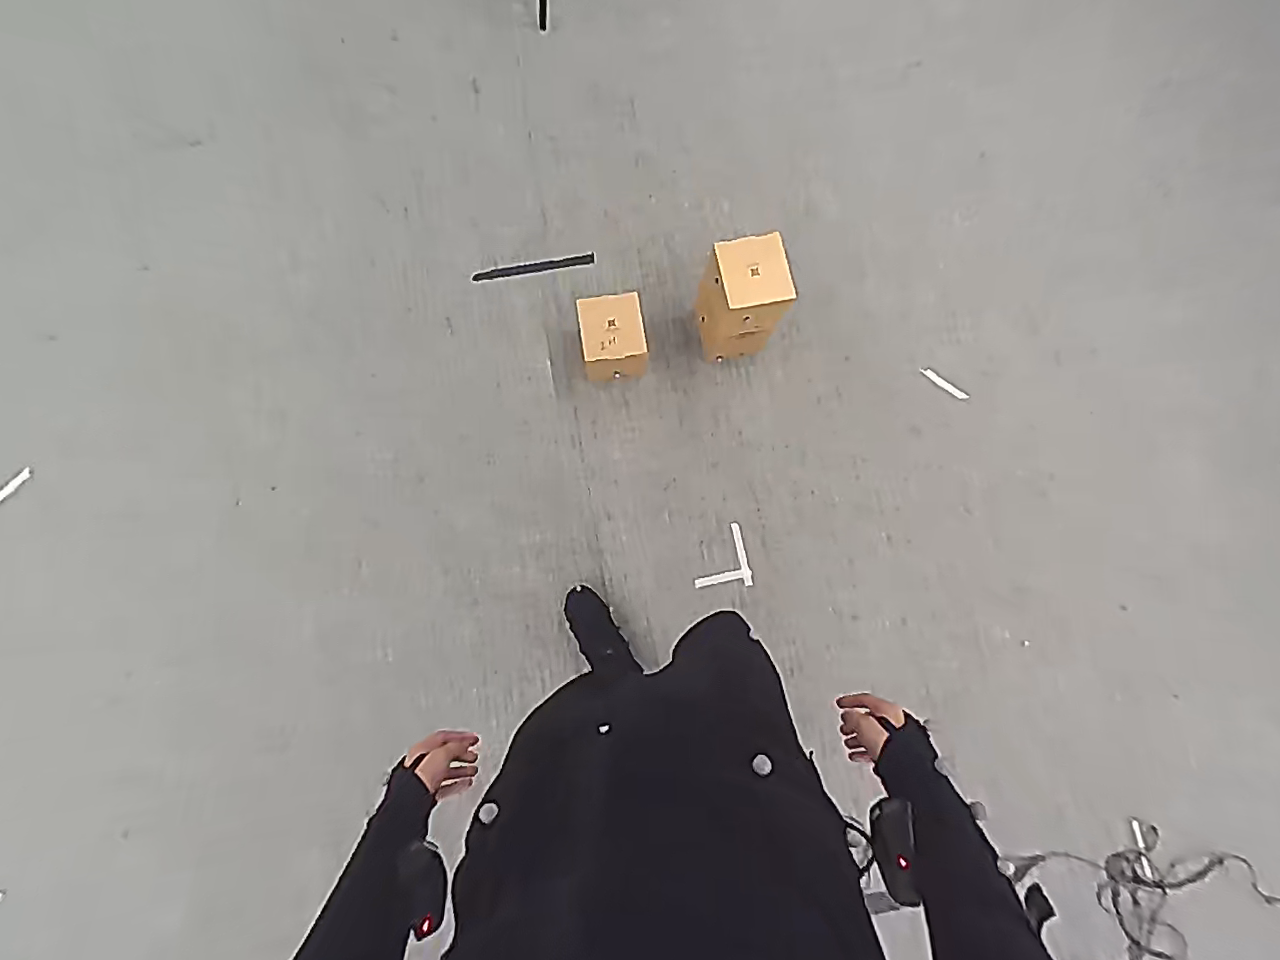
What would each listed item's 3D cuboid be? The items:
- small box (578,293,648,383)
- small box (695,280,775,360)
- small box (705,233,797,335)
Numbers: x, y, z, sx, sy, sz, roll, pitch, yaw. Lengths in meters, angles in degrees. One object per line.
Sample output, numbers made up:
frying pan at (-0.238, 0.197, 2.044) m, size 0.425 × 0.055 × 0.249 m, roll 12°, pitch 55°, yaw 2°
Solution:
small box at (-0.075, -0.383, 1.478) m, size 0.168 × 0.176 × 0.179 m, roll -9°, pitch 82°, yaw -3°
small box at (0.258, -0.448, 1.502) m, size 0.168 × 0.176 × 0.179 m, roll -12°, pitch 81°, yaw -4°
small box at (0.268, -0.475, 1.343) m, size 0.168 × 0.176 × 0.179 m, roll -11°, pitch 81°, yaw -4°
